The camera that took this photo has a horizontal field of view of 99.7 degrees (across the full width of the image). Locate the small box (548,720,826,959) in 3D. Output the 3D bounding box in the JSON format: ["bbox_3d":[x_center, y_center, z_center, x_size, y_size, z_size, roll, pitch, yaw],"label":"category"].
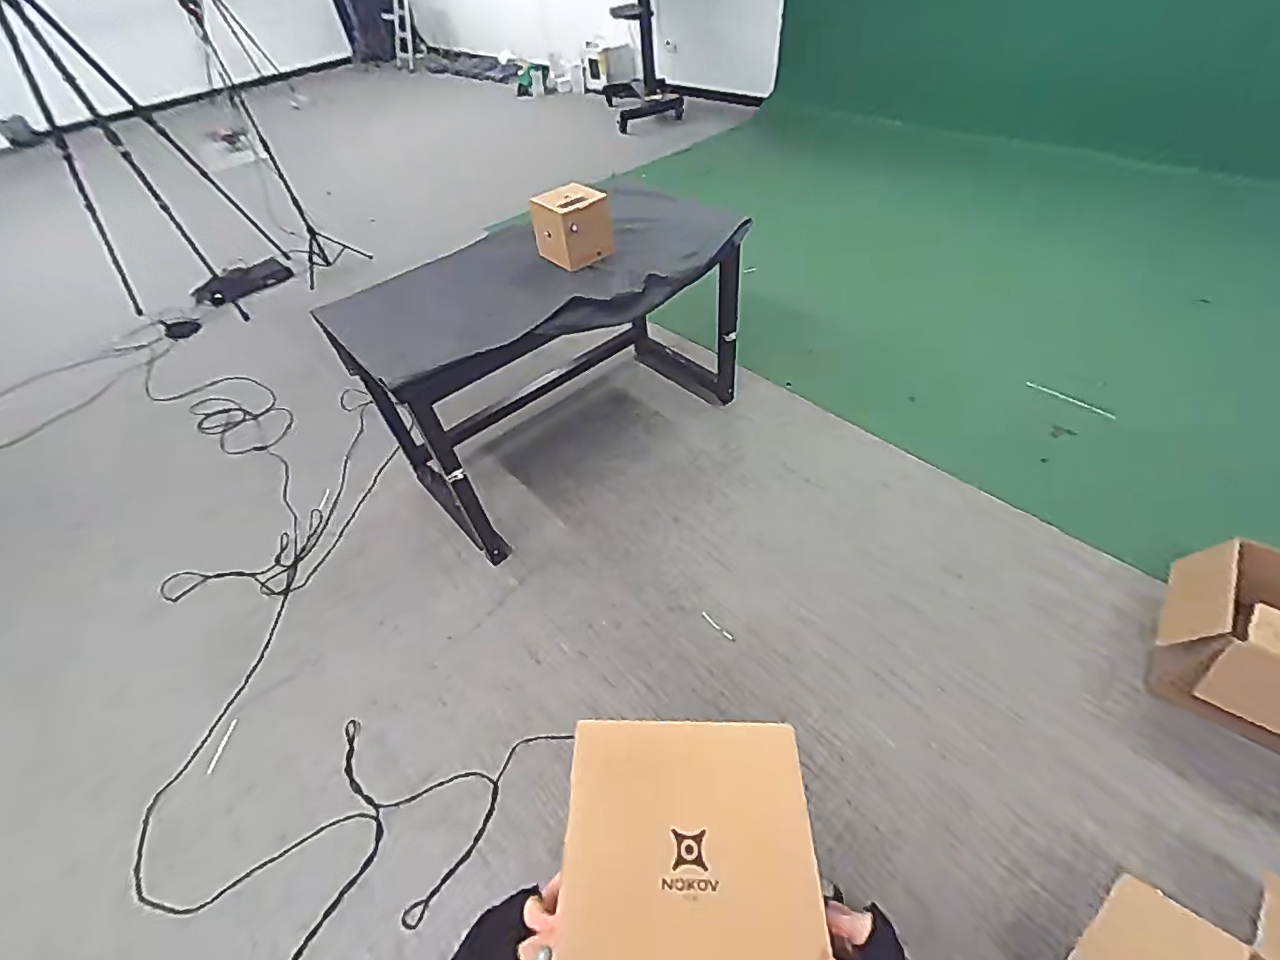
[{"bbox_3d":[0.027,0.303,0.406,0.168,0.176,0.179,0,45,0],"label":"small box"}]
